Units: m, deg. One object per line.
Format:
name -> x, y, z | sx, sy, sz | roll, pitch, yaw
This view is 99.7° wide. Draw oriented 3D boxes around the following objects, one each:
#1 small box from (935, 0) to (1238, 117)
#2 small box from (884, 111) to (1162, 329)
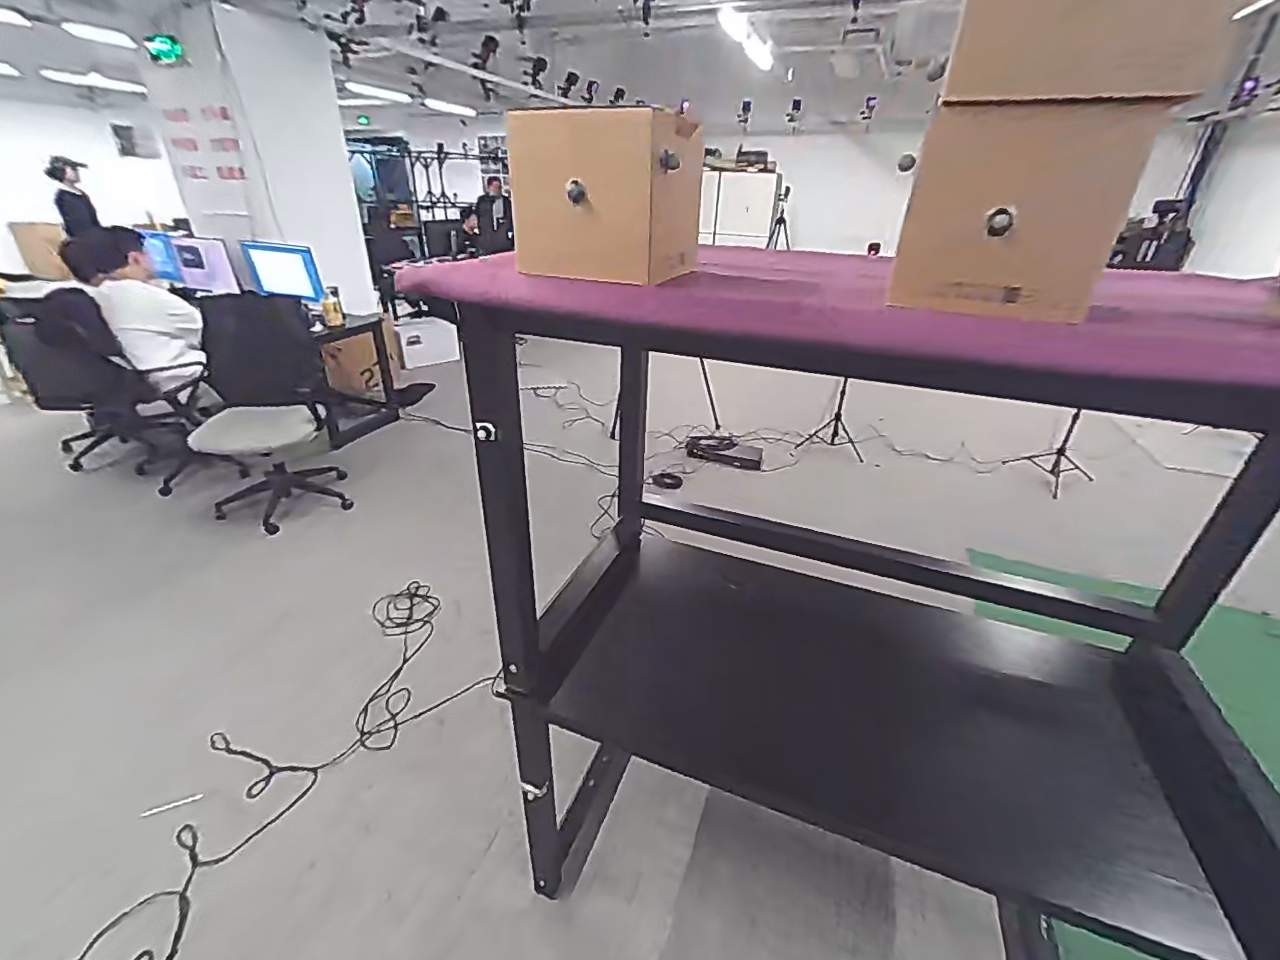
small box -> 0.363, -0.391, 0.448 | 0.179, 0.176, 0.168 | 13, 29, 21
small box -> 0.352, -0.255, 0.538 | 0.168, 0.176, 0.179 | 14, 30, 20
